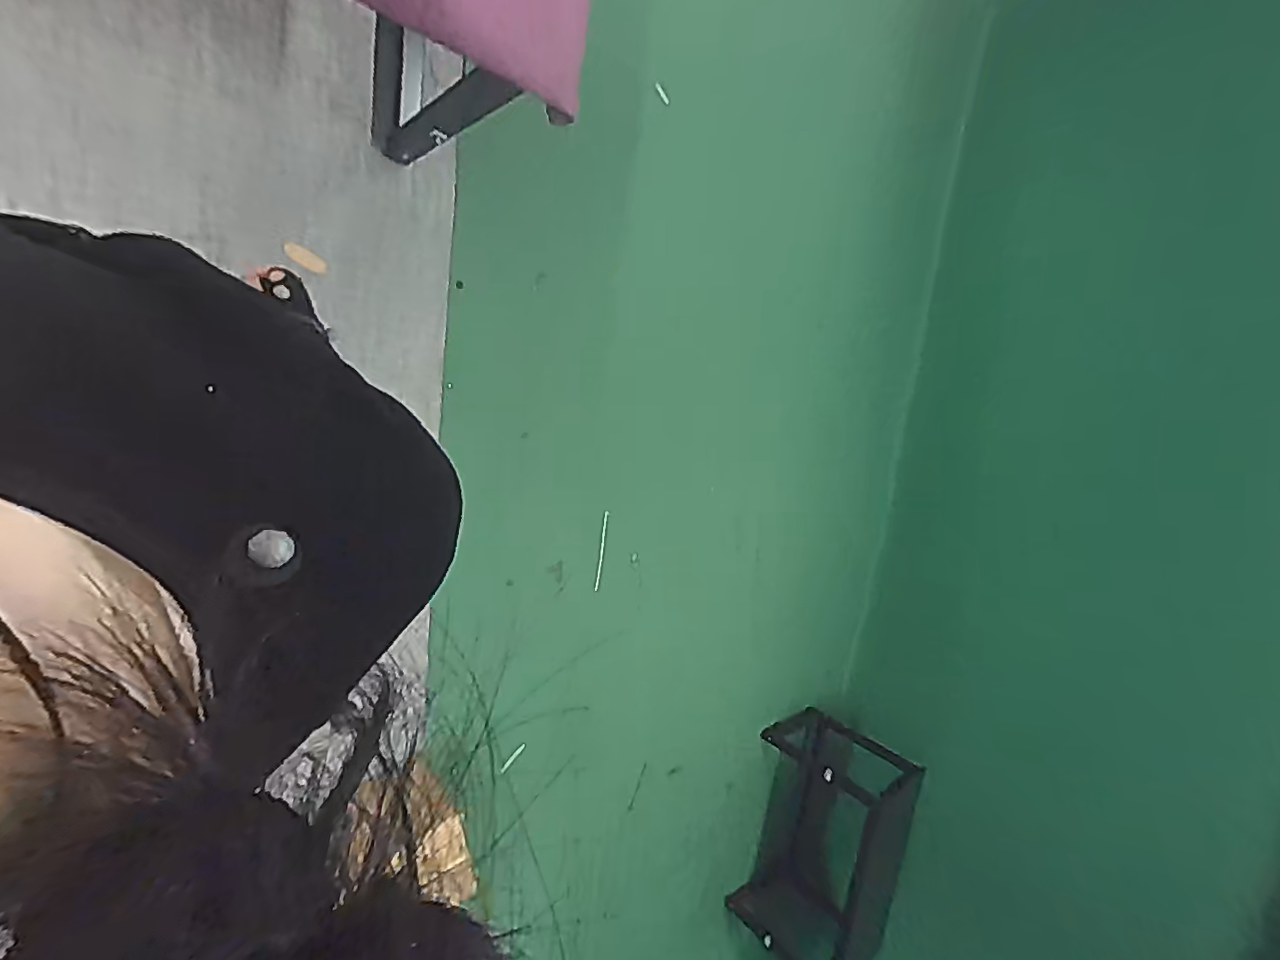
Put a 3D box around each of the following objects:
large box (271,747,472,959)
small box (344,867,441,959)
[{"bbox_3d":[-0.757,1.071,1.547,0.408,0.320,0.320,-20,116,-39],"label":"large box"},{"bbox_3d":[-0.615,1.131,1.354,0.179,0.176,0.168,-15,111,-39],"label":"small box"}]
